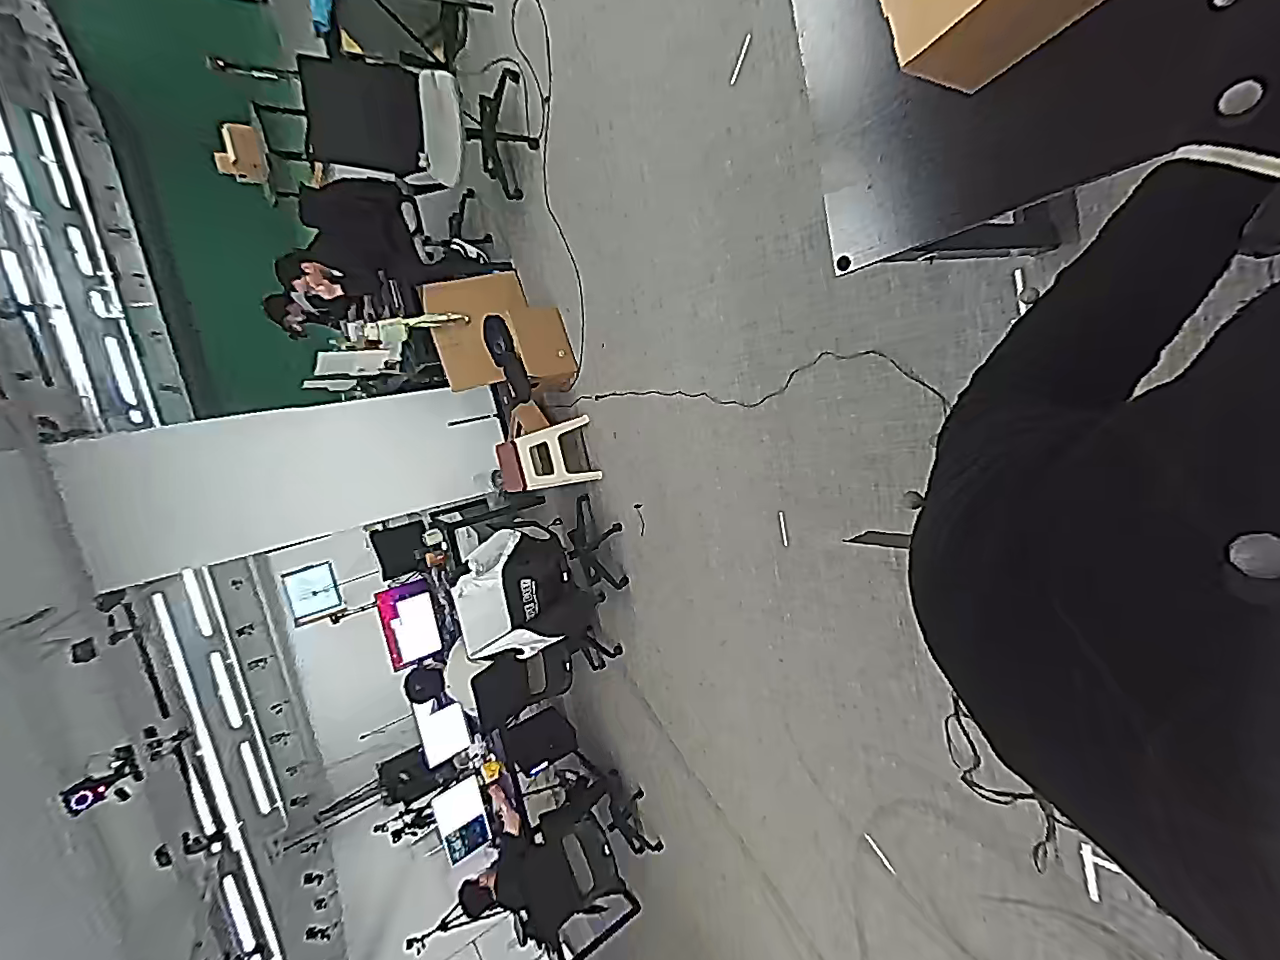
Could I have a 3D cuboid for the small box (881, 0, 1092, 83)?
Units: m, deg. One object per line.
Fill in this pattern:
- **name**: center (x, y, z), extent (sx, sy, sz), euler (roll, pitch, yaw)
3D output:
- **small box**: center (0.367, -0.554, 0.552), extent (0.179, 0.176, 0.168), euler (-14, 92, 57)
